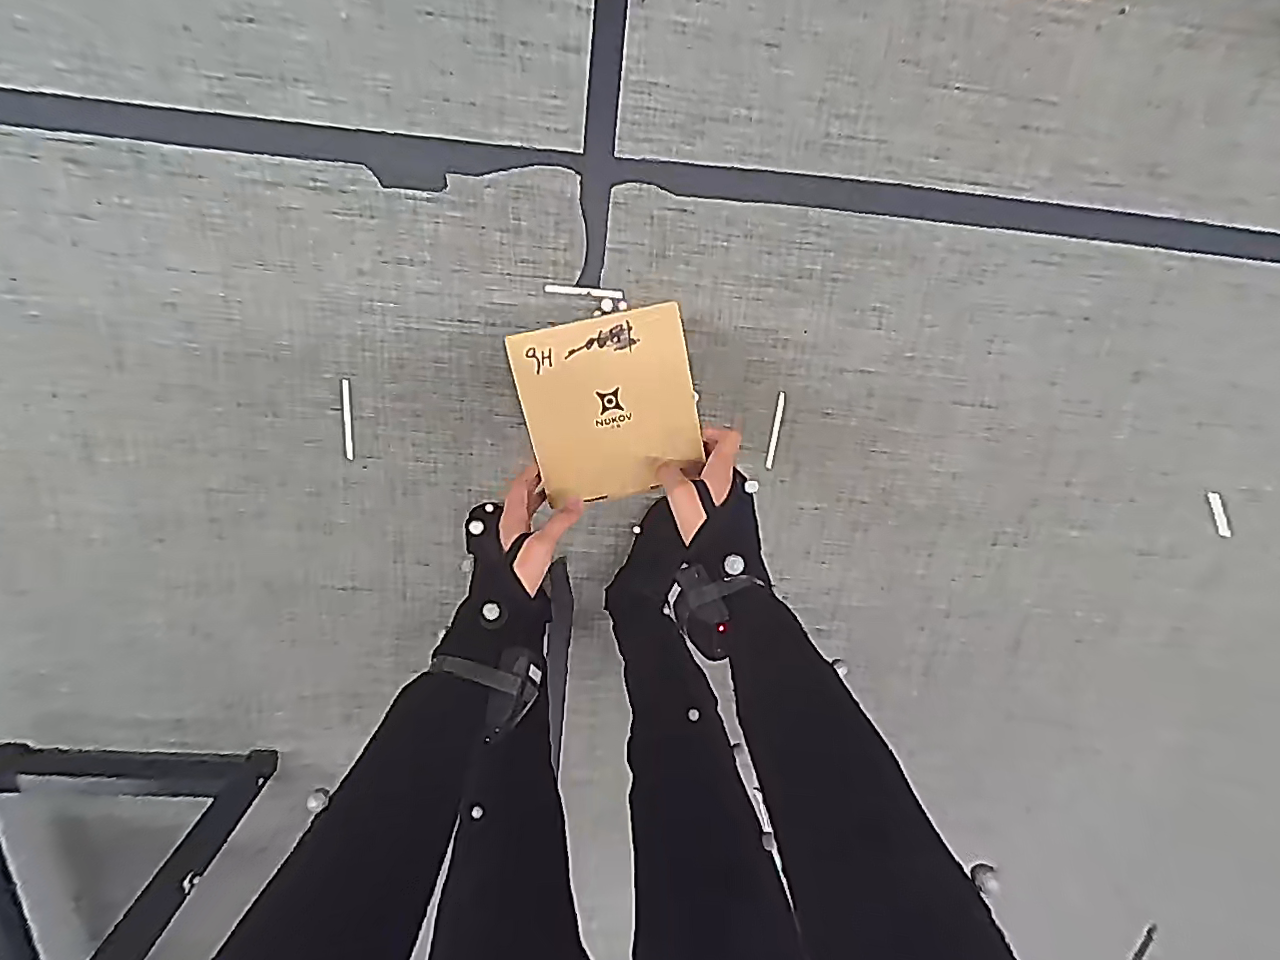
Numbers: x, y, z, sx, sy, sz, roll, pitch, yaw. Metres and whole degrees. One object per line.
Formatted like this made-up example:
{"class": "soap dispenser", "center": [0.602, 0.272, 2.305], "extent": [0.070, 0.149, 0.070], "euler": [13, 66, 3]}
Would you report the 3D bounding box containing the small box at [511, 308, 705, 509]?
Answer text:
{"class": "small box", "center": [-0.031, -0.089, 0.606], "extent": [0.168, 0.176, 0.179], "euler": [-12, 108, 0]}
